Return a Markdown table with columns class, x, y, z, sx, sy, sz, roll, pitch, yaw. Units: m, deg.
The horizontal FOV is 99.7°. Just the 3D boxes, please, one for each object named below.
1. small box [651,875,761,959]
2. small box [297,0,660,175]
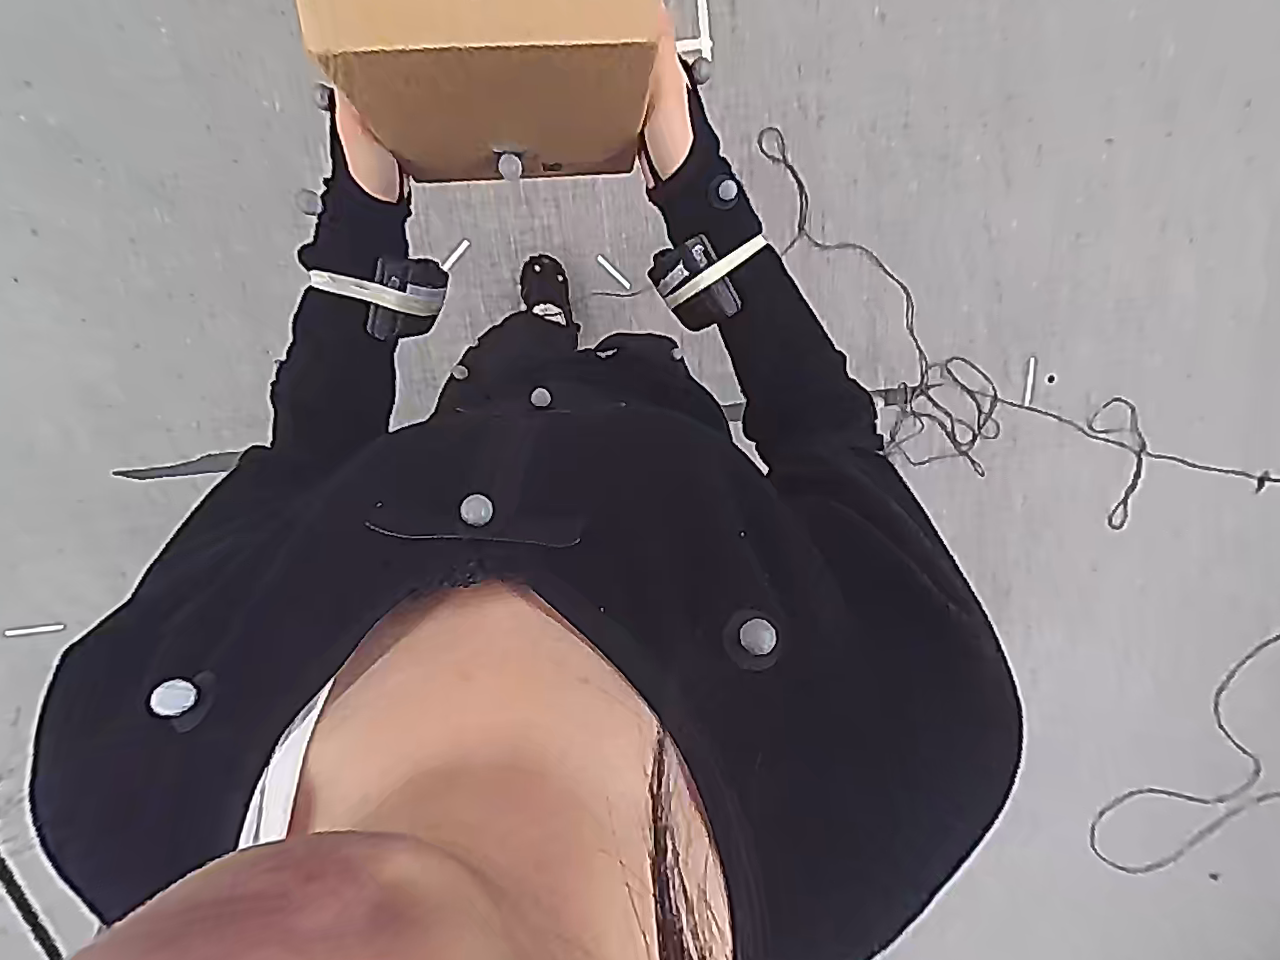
| class | x | y | z | sx | sy | sz | roll | pitch | yaw |
| --- | --- | --- | --- | --- | --- | --- | --- | --- | --- |
| small box | 0.116 | 0.825 | 0.938 | 0.168 | 0.176 | 0.179 | -10 | 109 | -2 |
| small box | -0.085 | -0.303 | 0.313 | 0.168 | 0.176 | 0.179 | -5 | 101 | -5 |
